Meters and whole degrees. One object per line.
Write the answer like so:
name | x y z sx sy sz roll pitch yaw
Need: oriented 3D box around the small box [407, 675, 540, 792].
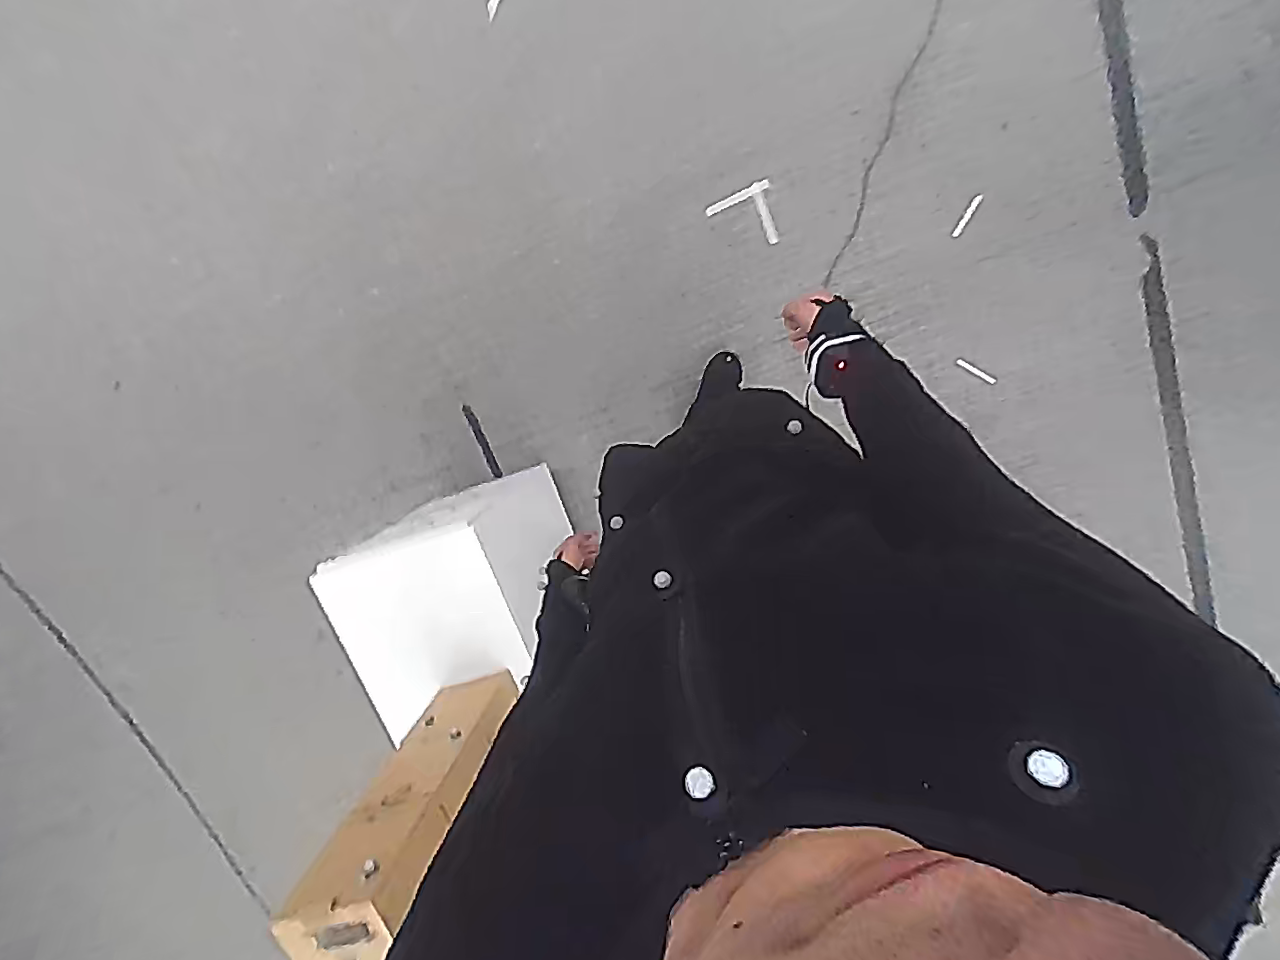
small box | -0.332 0.533 1.114 0.179 0.176 0.168 -19 102 11

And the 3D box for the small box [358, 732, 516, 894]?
small box | -0.345 0.574 0.955 0.168 0.176 0.179 -18 103 12
